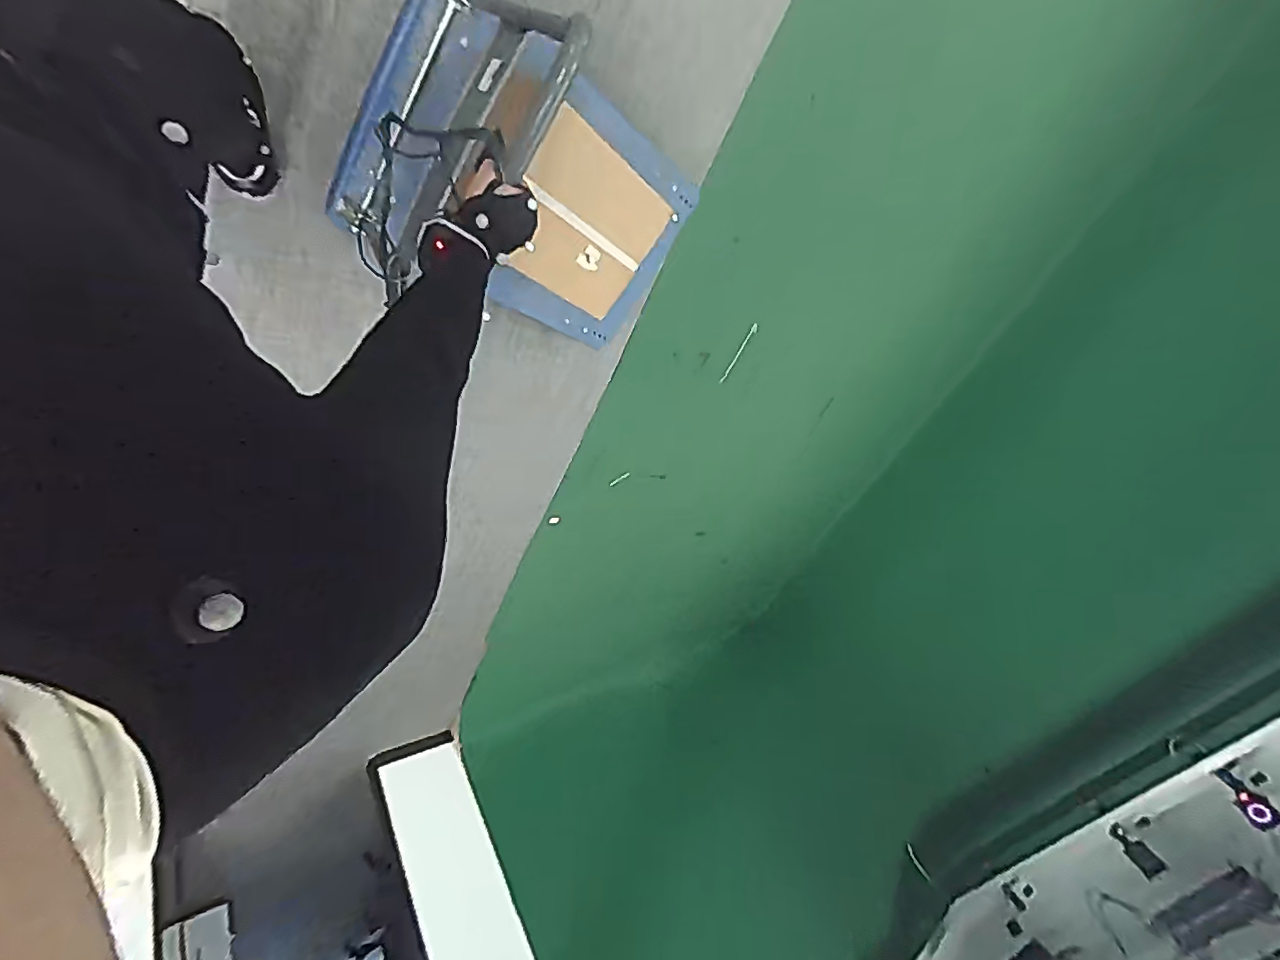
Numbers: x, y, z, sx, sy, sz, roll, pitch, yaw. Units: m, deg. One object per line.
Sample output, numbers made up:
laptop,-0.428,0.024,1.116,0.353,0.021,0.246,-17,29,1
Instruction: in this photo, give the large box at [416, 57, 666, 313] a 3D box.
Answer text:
large box,-0.227,-0.657,1.246,0.408,0.320,0.320,15,119,-51
